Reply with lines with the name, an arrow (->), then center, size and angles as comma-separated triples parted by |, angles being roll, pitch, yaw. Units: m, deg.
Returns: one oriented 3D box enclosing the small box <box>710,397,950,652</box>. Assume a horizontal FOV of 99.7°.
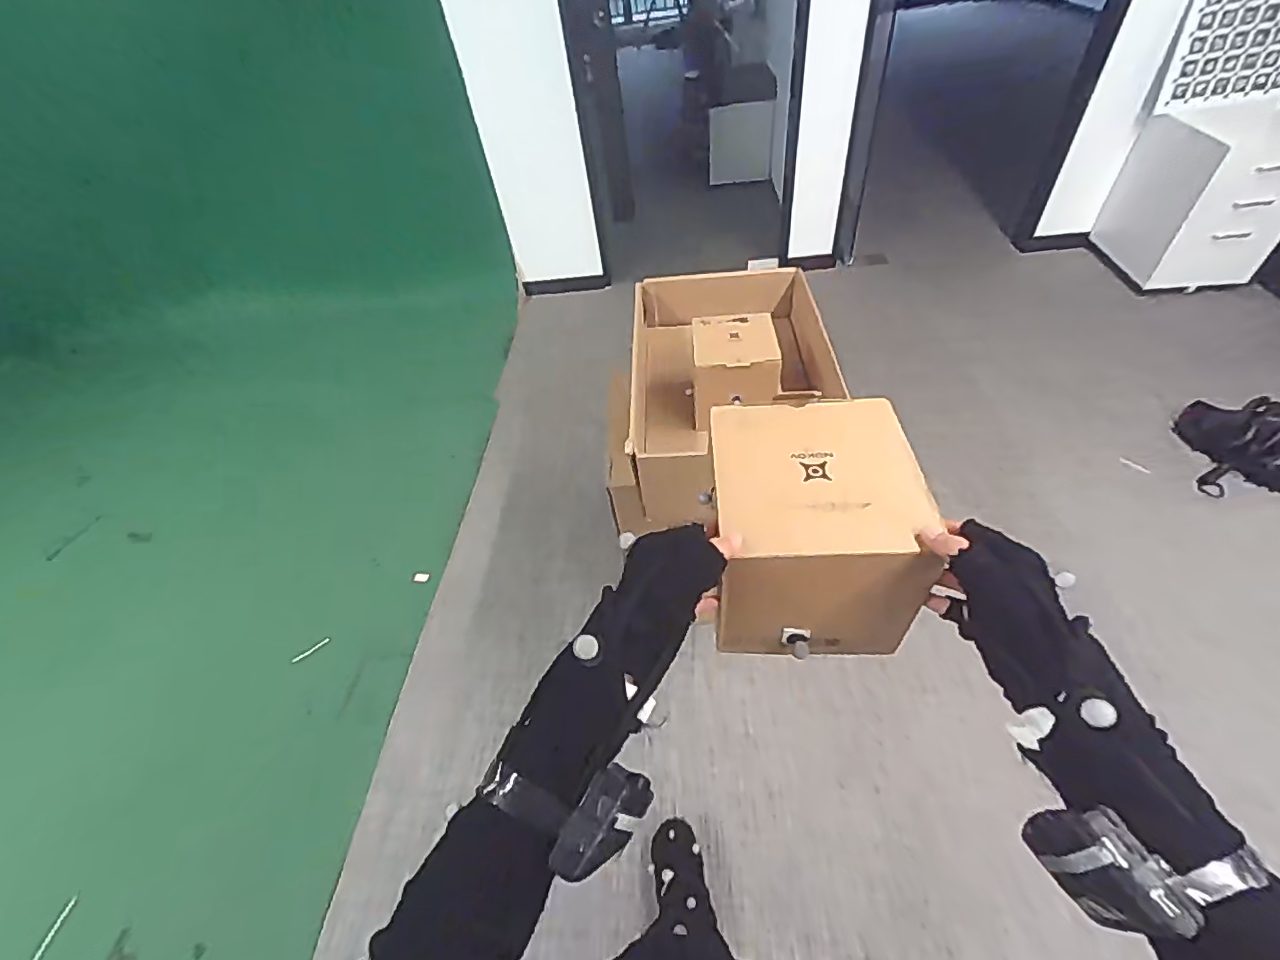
small box -> 0.153, 0.042, 0.511 | 0.168, 0.176, 0.179 | -2, 47, 5
